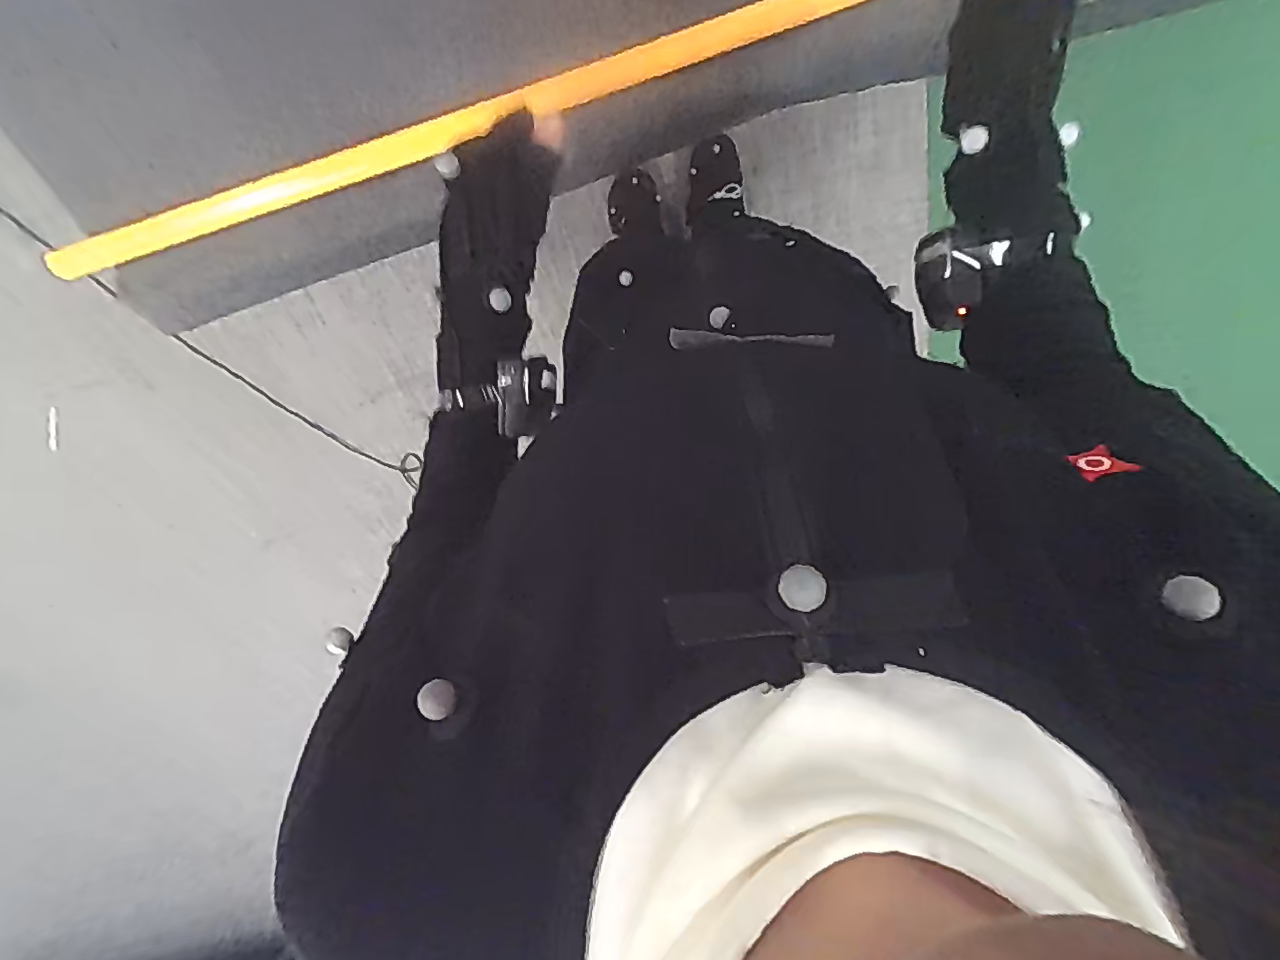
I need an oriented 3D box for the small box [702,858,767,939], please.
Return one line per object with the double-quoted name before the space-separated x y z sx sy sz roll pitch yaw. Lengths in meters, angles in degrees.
"small box" 0.337 1.499 1.942 0.168 0.176 0.179 -22 120 8
